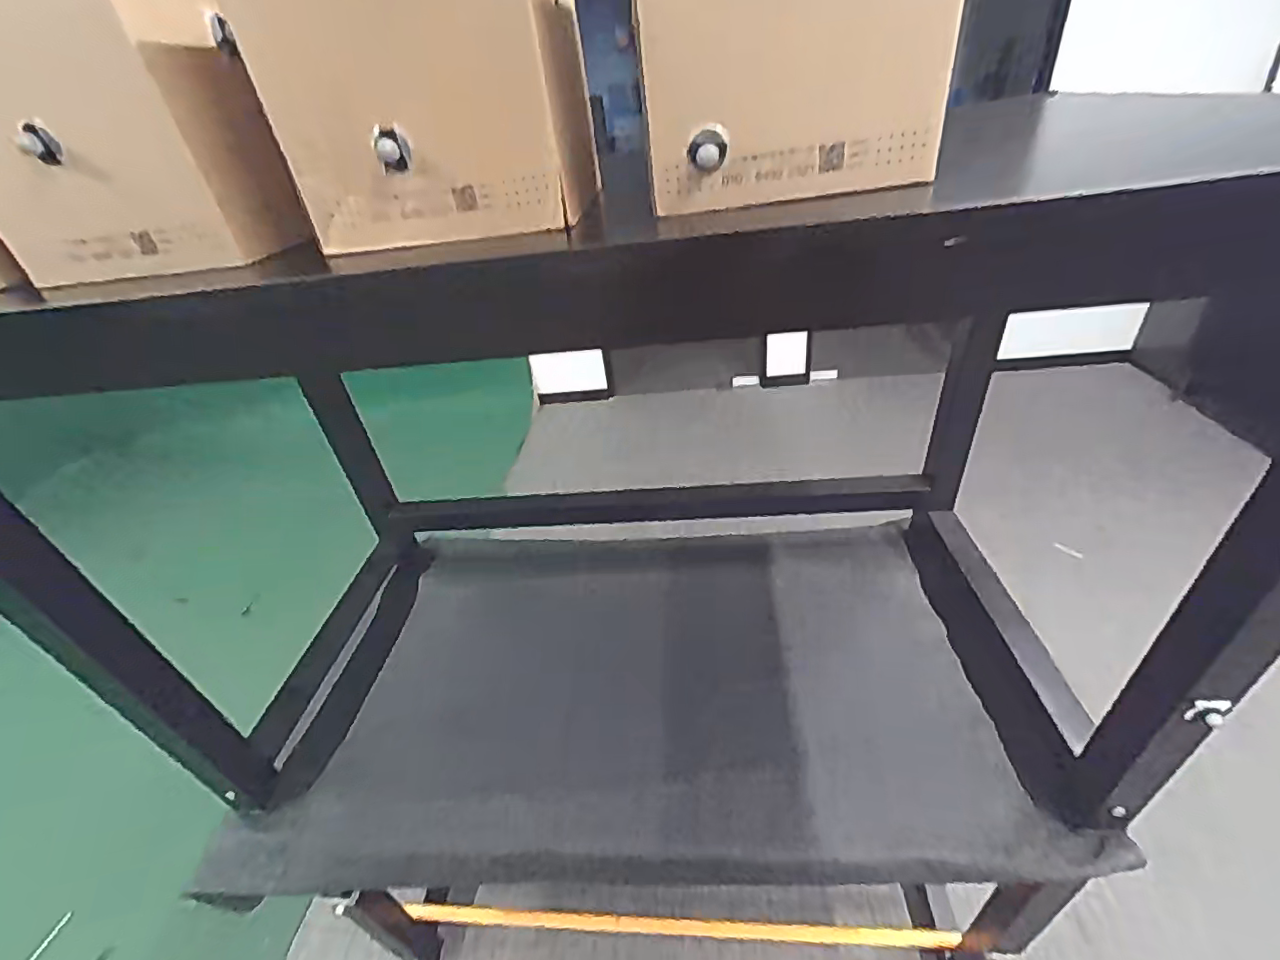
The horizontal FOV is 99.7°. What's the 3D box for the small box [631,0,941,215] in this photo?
[{"bbox_3d":[0.081,-0.282,0.356,0.168,0.176,0.179,-6,34,4],"label":"small box"}]
